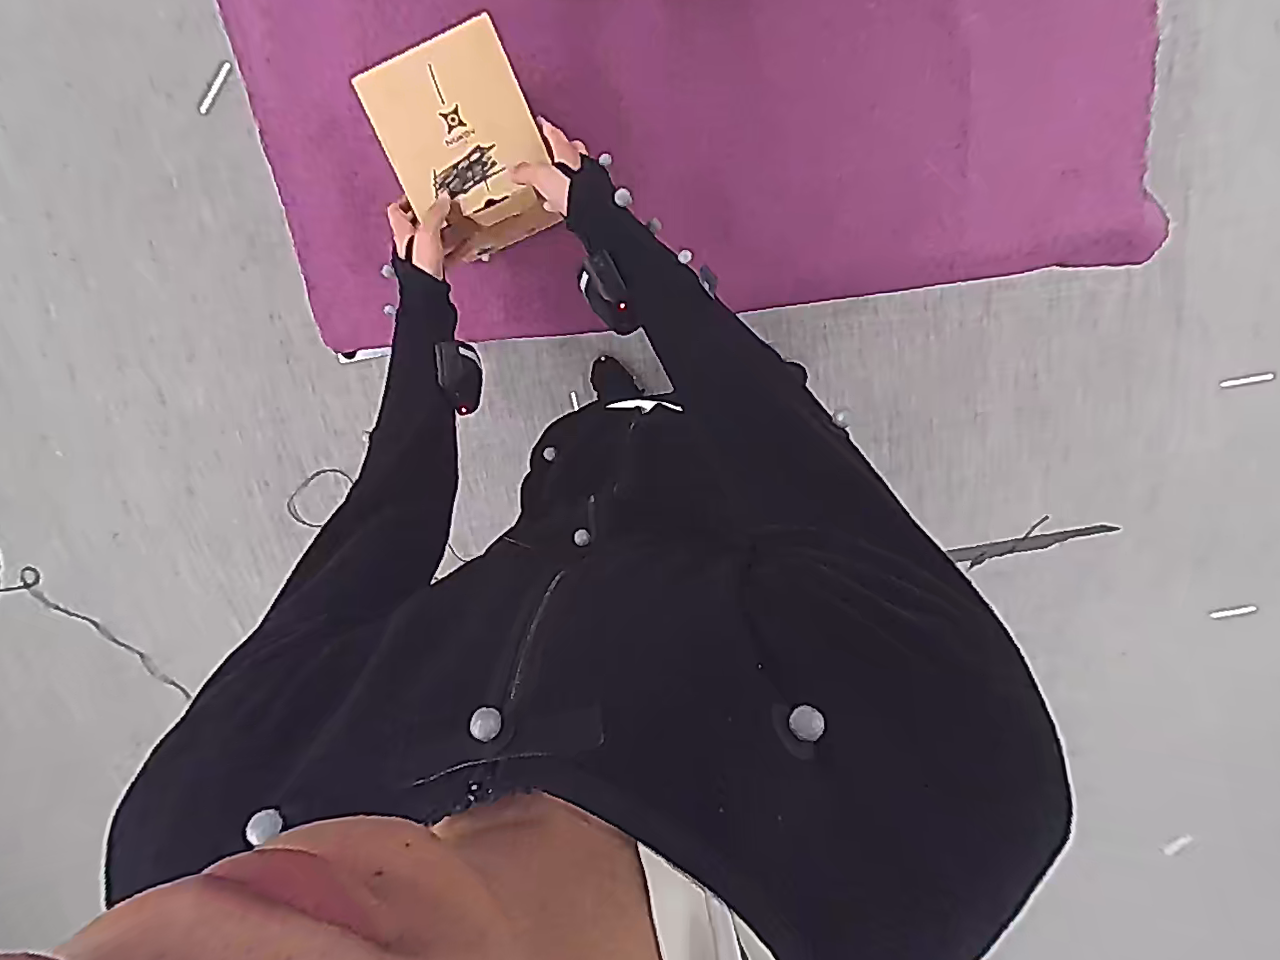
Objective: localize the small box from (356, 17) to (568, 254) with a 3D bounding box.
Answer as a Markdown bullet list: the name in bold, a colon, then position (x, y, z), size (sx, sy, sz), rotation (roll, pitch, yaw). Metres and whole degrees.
- **small box**: position (-0.200, -0.399, 0.670), size (0.168, 0.176, 0.179), rotation (-22, 101, 3)
